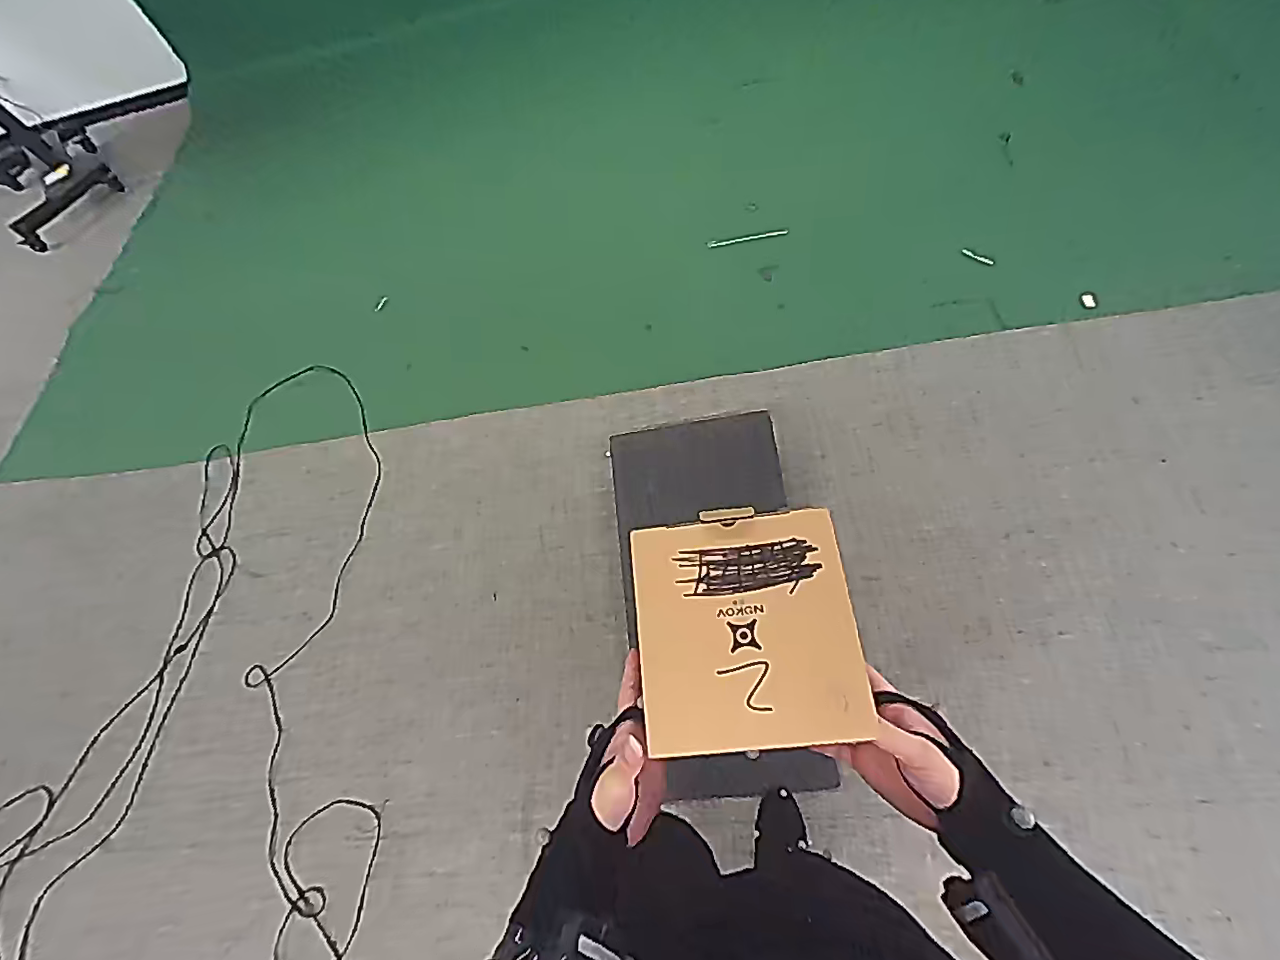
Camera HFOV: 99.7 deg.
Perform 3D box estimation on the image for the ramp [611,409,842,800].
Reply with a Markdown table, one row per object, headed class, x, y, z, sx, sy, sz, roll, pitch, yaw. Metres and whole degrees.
| class | x | y | z | sx | sy | sz | roll | pitch | yaw |
| --- | --- | --- | --- | --- | --- | --- | --- | --- | --- |
| ramp | 0.204 | 0.299 | 1.479 | 0.509 | 0.206 | 0.991 | -10 | 63 | 6 |
